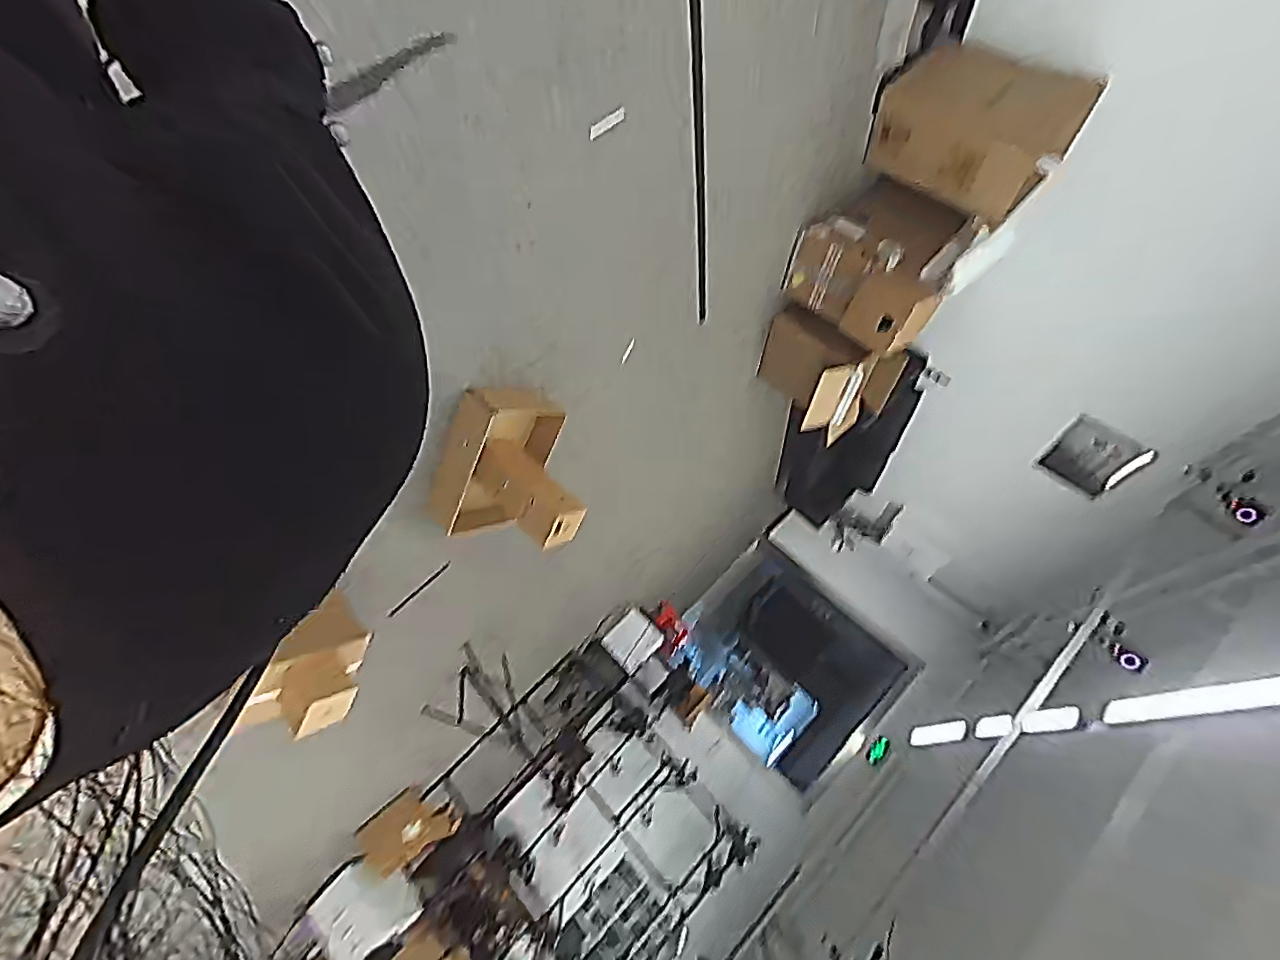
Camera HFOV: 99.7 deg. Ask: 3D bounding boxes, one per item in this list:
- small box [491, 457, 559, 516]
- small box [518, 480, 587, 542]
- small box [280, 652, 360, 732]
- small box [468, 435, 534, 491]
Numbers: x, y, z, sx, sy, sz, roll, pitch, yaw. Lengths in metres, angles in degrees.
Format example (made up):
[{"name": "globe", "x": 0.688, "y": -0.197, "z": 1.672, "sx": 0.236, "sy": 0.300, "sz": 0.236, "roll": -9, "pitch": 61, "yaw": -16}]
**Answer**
[{"name": "small box", "x": -0.467, "y": 0.020, "z": 2.187, "sx": 0.179, "sy": 0.176, "sz": 0.168, "roll": -10, "pitch": 134, "yaw": -55}, {"name": "small box", "x": -0.349, "y": 0.116, "z": 2.125, "sx": 0.179, "sy": 0.176, "sz": 0.168, "roll": -13, "pitch": 138, "yaw": -56}, {"name": "small box", "x": -1.114, "y": 0.724, "z": 1.875, "sx": 0.168, "sy": 0.176, "sz": 0.179, "roll": -5, "pitch": 131, "yaw": -57}, {"name": "small box", "x": -0.580, "y": -0.077, "z": 2.250, "sx": 0.179, "sy": 0.176, "sz": 0.168, "roll": -9, "pitch": 134, "yaw": -56}]
